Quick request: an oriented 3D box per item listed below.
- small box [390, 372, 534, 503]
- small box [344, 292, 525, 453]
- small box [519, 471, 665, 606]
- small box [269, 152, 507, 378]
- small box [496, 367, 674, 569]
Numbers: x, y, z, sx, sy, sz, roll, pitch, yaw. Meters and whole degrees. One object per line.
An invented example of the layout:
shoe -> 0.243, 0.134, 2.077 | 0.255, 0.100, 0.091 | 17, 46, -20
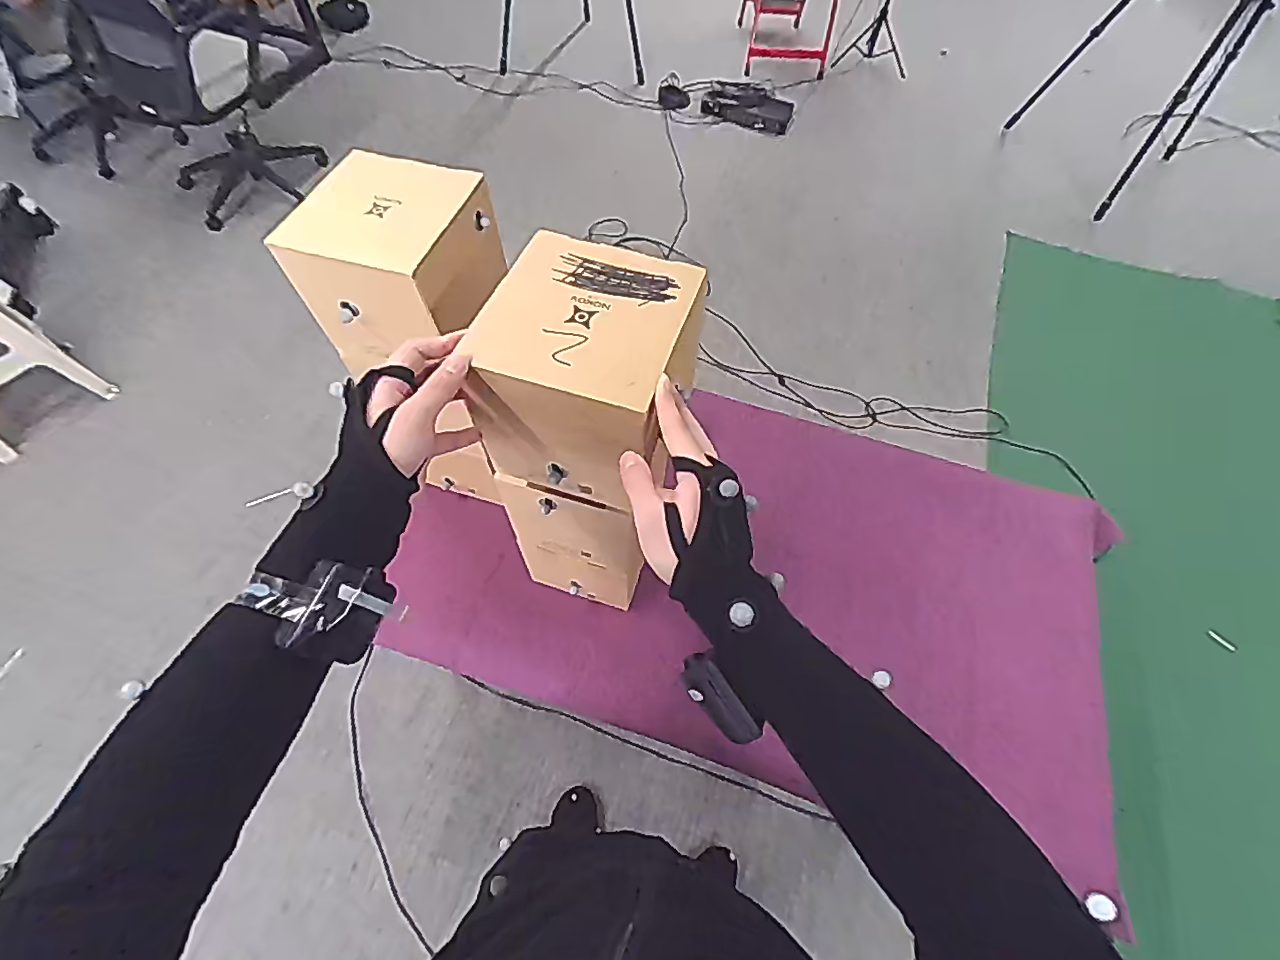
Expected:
small box -> -0.285, -0.088, 0.926 | 0.168, 0.176, 0.179 | 15, 62, 7
small box -> -0.279, -0.169, 0.785 | 0.168, 0.176, 0.179 | 15, 62, 7
small box -> -0.070, 0.072, 0.844 | 0.168, 0.176, 0.179 | 17, 61, 8
small box -> -0.275, -0.248, 0.643 | 0.168, 0.176, 0.179 | 14, 61, 7
small box -> -0.063, -0.011, 0.701 | 0.168, 0.176, 0.179 | 16, 60, 8
